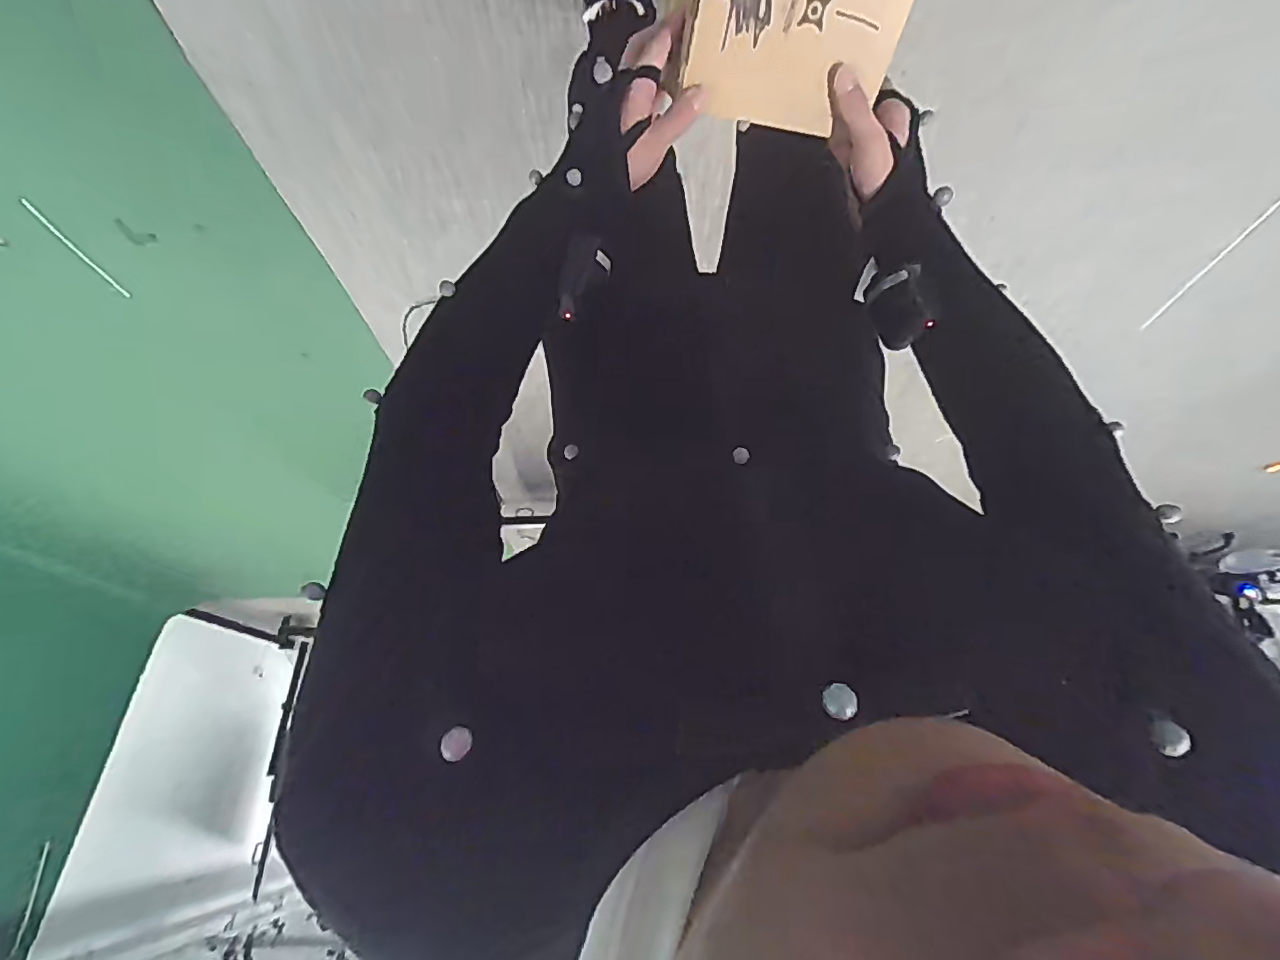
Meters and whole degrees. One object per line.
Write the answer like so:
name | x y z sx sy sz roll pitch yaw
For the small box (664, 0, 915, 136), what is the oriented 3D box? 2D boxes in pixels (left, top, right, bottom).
small box | 0.125 -0.433 0.481 0.179 0.176 0.168 3 134 -11
